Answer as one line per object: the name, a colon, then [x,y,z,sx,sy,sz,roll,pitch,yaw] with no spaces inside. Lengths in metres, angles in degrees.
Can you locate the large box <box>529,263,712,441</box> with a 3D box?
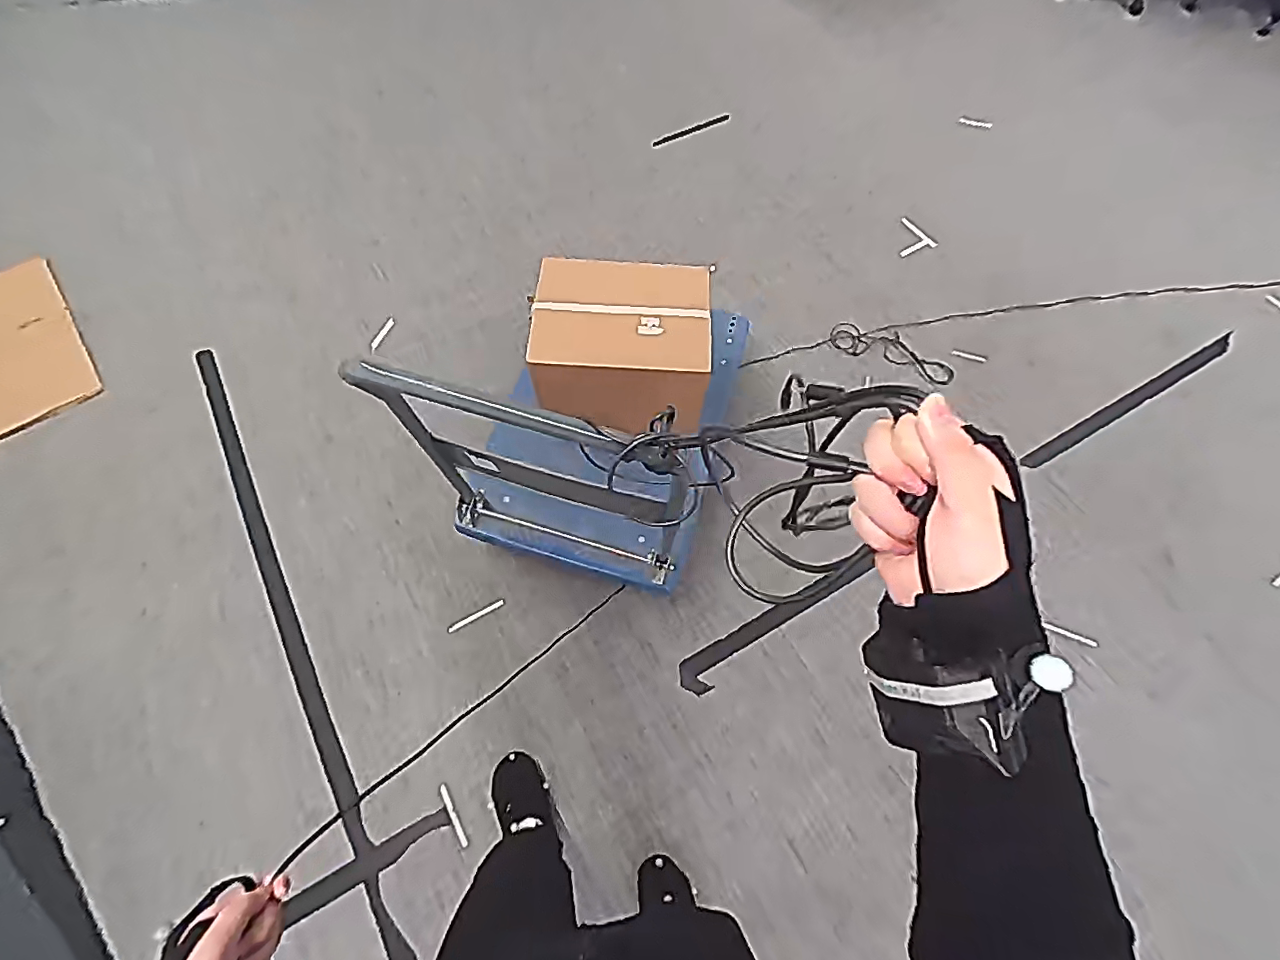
large box: [-0.044,-0.310,1.365,0.408,0.320,0.320,3,65,0]
